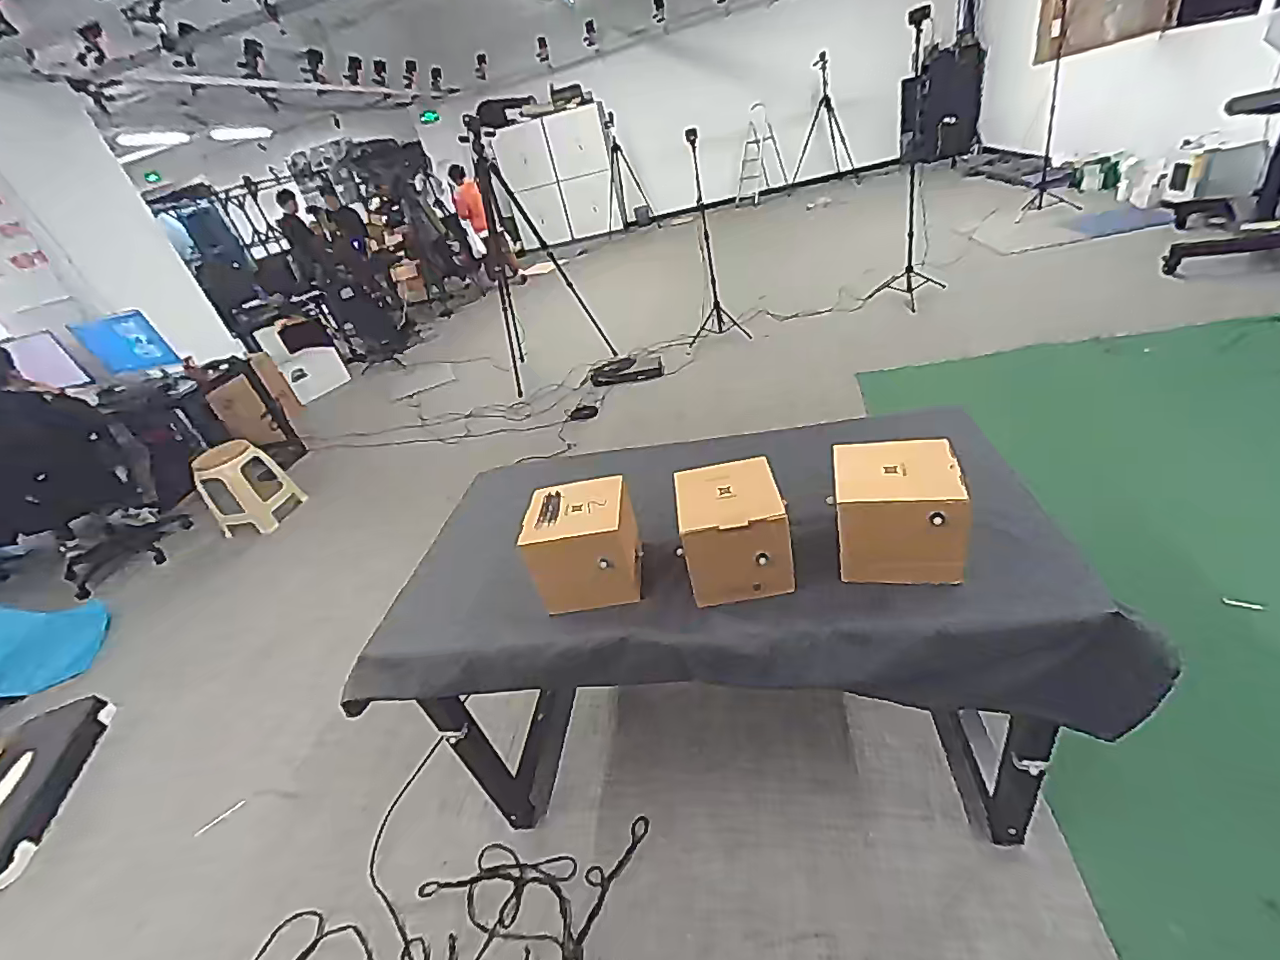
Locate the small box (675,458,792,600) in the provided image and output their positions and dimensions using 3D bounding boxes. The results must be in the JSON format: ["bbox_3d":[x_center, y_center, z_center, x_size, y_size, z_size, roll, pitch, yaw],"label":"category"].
[{"bbox_3d":[0.158,0.089,0.928,0.168,0.176,0.179,-10,31,6],"label":"small box"}]

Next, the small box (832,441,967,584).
[{"bbox_3d":[0.411,0.053,0.878,0.179,0.176,0.168,-2,34,19],"label":"small box"}]
